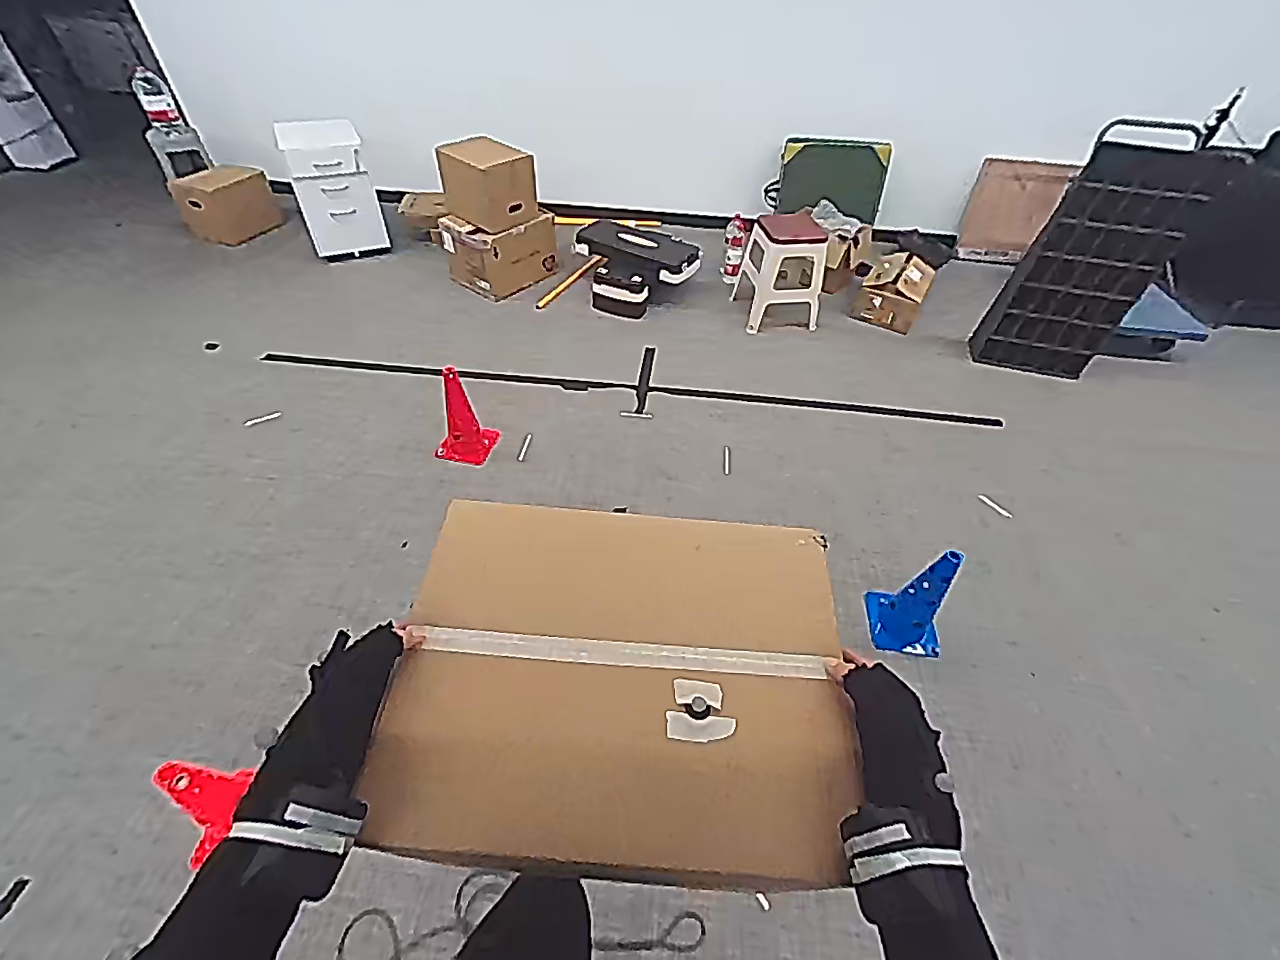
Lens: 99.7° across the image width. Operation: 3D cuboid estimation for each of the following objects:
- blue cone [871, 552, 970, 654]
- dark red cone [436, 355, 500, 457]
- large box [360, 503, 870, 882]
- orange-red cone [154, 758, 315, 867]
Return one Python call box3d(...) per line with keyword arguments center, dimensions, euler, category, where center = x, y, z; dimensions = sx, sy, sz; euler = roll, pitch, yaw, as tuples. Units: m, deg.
box3d(center=(0.828, 0.331, 1.557), dimensions=(0.192, 0.380, 0.193), euler=(9, 47, 4), category="blue cone")
box3d(center=(-0.661, -0.283, 1.999), dimensions=(0.201, 0.394, 0.202), euler=(11, 47, 6), category="dark red cone")
box3d(center=(-0.021, 0.252, 0.621), dimensions=(0.408, 0.320, 0.320), euler=(5, 52, -1), category="large box")
box3d(center=(-0.878, 0.653, 1.123), dimensions=(0.198, 0.360, 0.199), euler=(4, 48, 2), category="orange-red cone")
